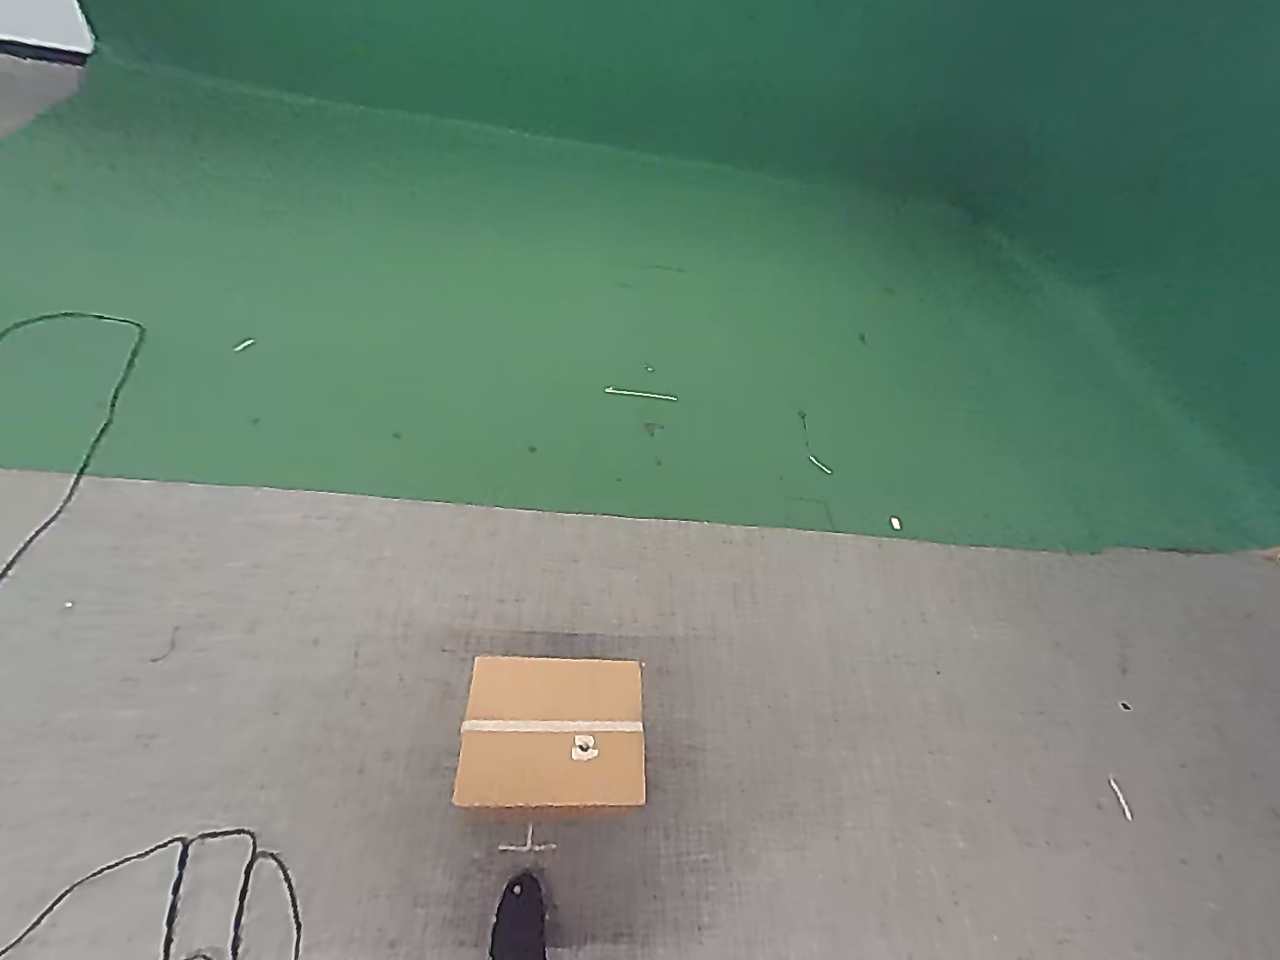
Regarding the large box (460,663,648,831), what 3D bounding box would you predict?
[{"bbox_3d":[-0.211,0.664,1.346,0.408,0.320,0.320,4,51,-9],"label":"large box"}]
